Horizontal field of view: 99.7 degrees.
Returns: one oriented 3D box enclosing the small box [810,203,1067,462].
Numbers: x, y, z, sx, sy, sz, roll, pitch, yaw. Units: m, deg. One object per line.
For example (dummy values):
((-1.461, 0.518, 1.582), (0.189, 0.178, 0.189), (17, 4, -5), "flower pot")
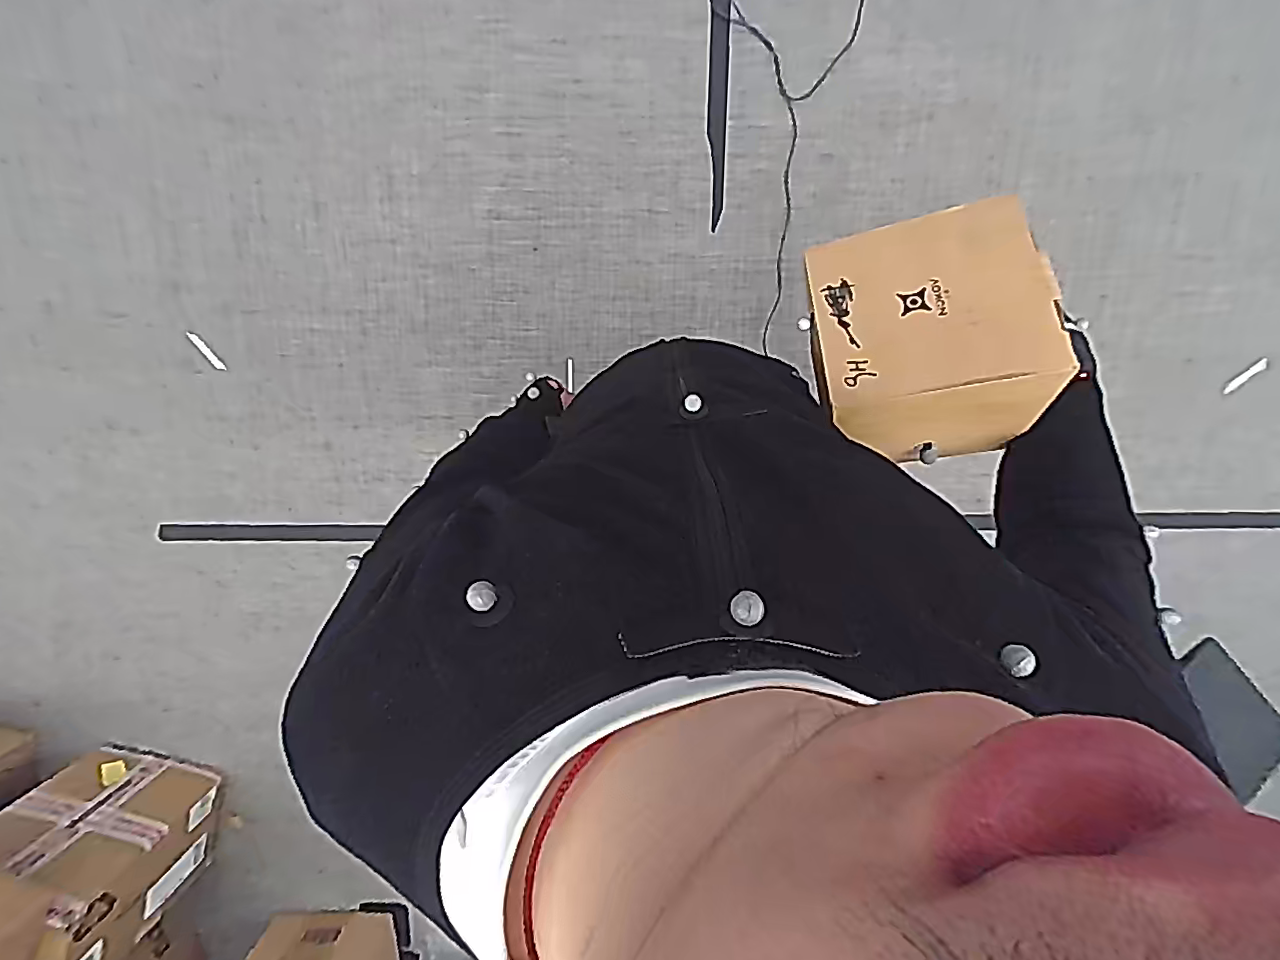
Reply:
((0.266, -0.128, 0.532), (0.179, 0.176, 0.168), (-7, 69, 16), "small box")
